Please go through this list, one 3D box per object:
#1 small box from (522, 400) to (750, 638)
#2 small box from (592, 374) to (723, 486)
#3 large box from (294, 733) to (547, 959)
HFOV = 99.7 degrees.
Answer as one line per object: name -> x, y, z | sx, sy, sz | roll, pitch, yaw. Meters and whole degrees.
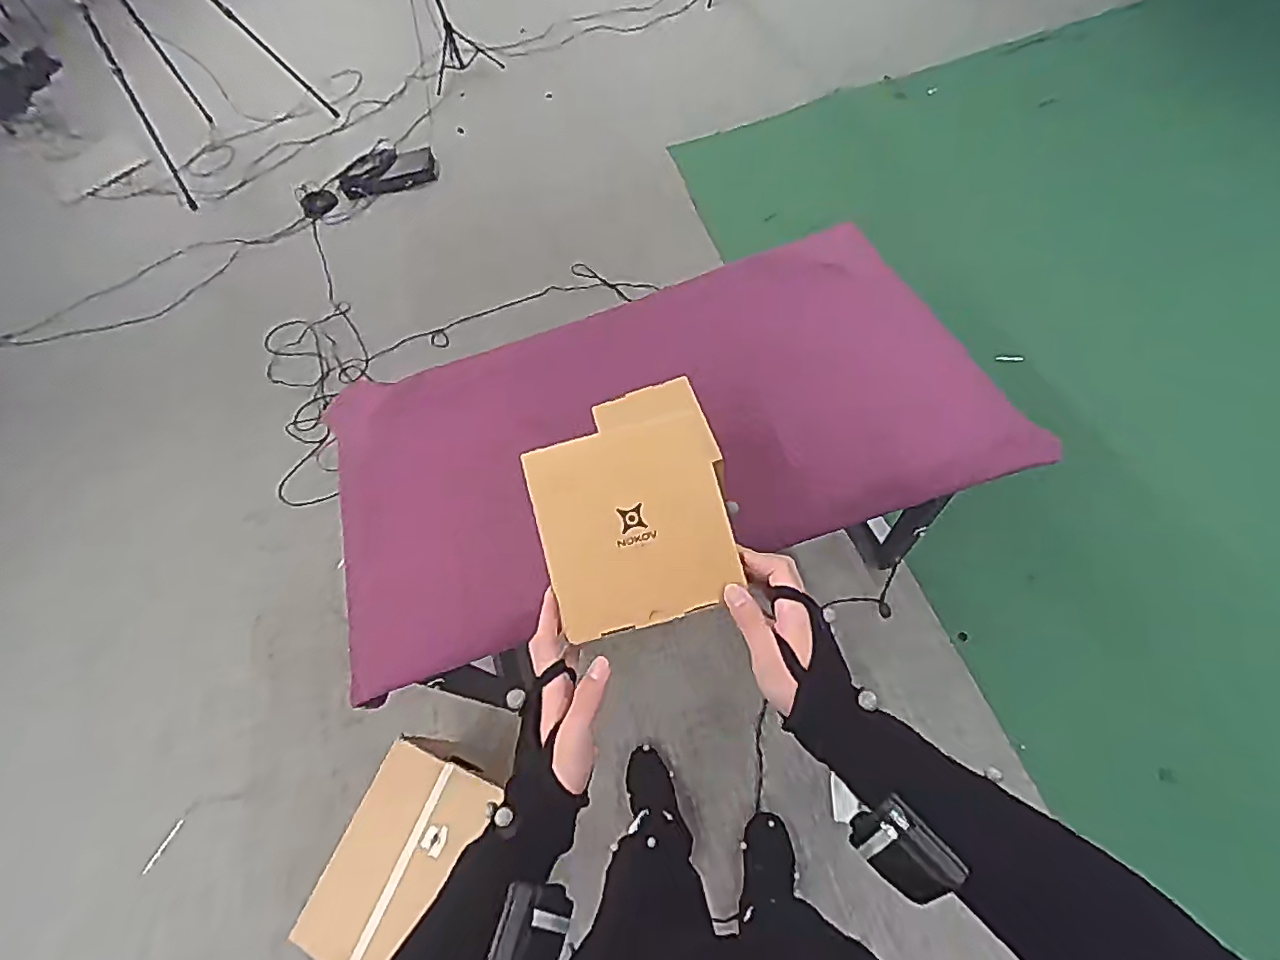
small box -> -0.005, 0.039, 0.543 | 0.168, 0.176, 0.179 | -15, 85, 0
small box -> 0.032, -0.038, 0.894 | 0.168, 0.176, 0.179 | -18, 60, 0
large box -> -0.470, 0.861, 1.250 | 0.320, 0.320, 0.408 | 17, 65, 16
